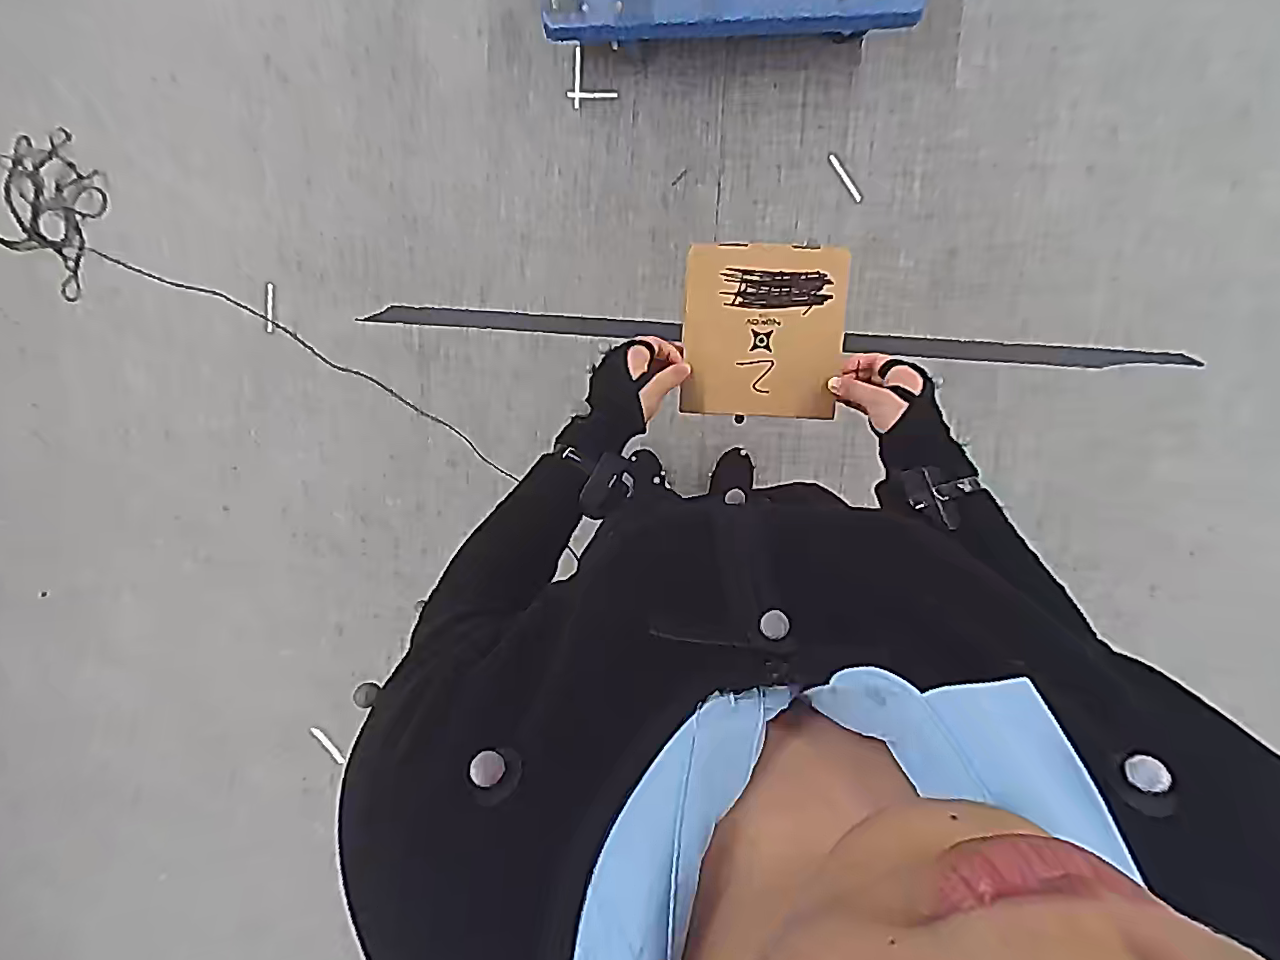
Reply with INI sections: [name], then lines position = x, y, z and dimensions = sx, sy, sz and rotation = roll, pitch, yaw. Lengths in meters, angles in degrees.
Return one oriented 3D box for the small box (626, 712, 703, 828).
[small box]
position = 0.063, 0.692, 1.306
dimensions = 0.168, 0.176, 0.179
rotation = 5, 95, 5
